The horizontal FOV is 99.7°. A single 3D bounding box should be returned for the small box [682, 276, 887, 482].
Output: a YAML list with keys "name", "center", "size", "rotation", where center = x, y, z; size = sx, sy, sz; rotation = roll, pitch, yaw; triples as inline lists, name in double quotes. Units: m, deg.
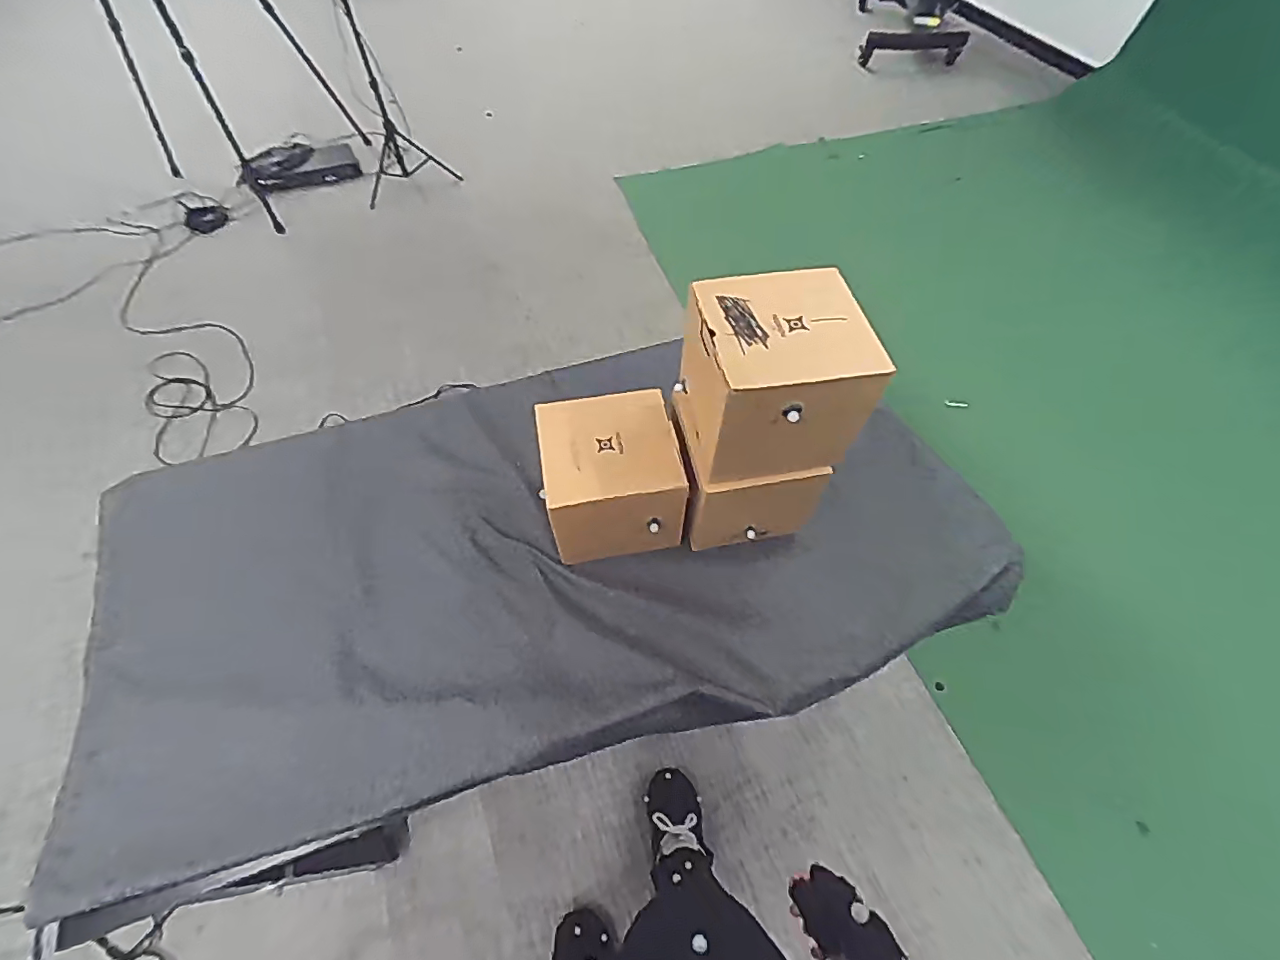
- name: "small box"
  center: [0.150, -0.113, 0.642]
  size: [0.179, 0.176, 0.168]
  rotation: [-8, 58, -7]
